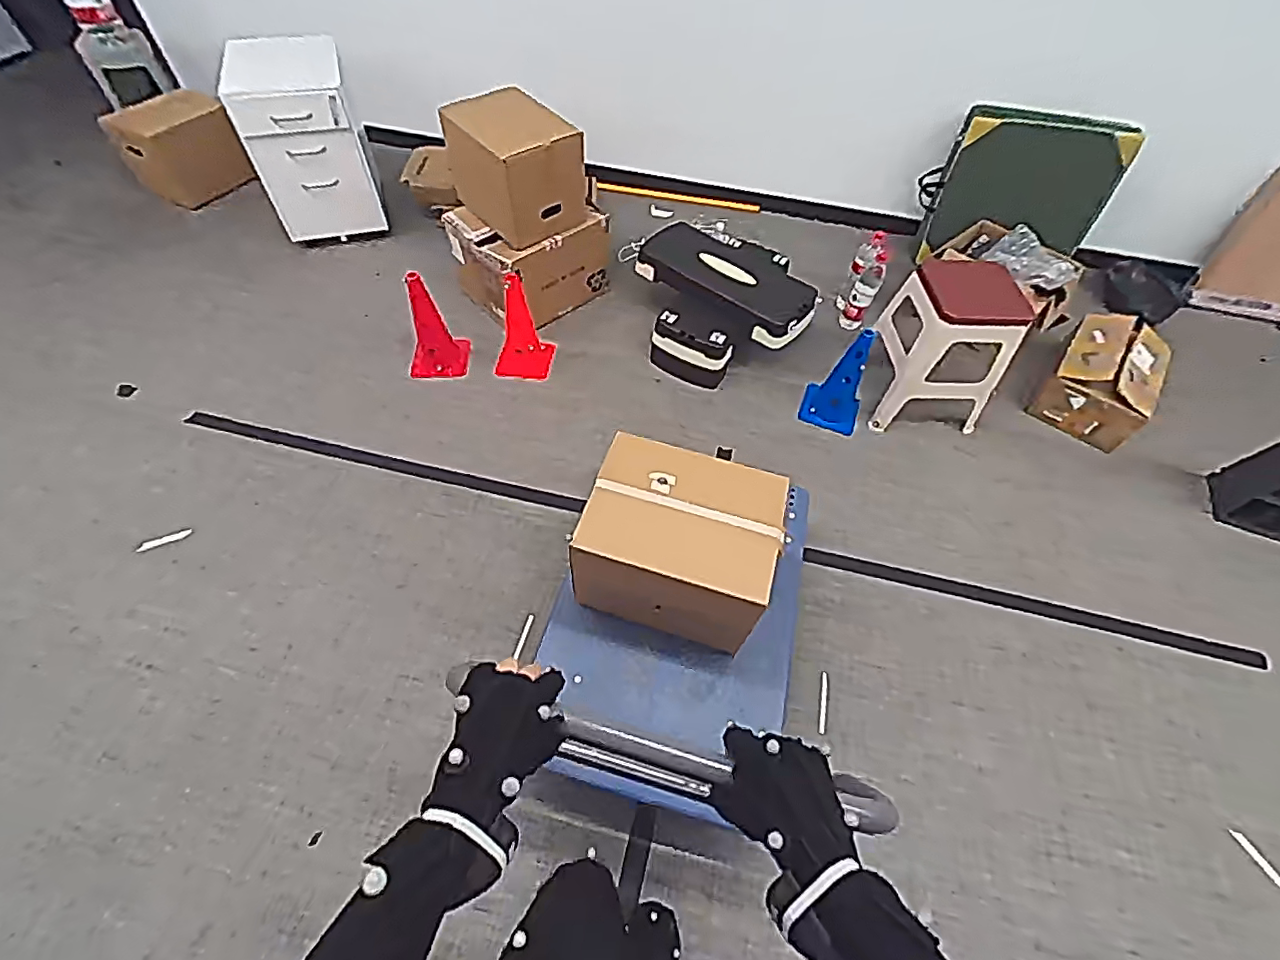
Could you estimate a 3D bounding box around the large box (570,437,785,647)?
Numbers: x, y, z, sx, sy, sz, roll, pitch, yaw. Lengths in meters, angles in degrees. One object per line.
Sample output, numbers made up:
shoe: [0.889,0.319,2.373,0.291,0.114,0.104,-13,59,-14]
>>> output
large box: [0.087,0.151,1.259,0.408,0.320,0.320,16,56,8]
